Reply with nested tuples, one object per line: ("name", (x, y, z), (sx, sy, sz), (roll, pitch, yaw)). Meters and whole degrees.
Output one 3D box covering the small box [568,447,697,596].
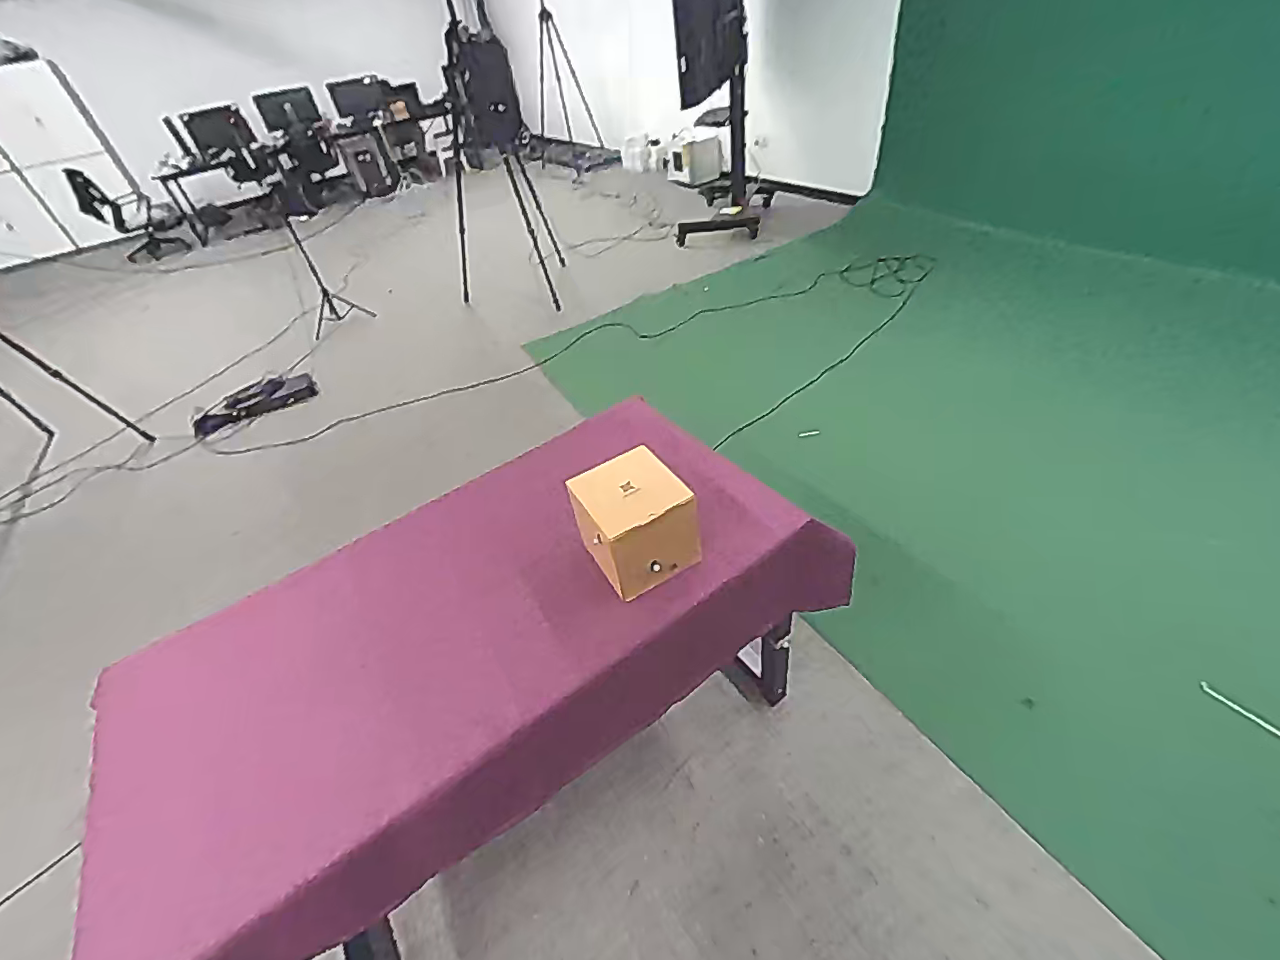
("small box", (-0.011, 0.075, 0.986), (0.168, 0.176, 0.179), (-27, 45, -17))
